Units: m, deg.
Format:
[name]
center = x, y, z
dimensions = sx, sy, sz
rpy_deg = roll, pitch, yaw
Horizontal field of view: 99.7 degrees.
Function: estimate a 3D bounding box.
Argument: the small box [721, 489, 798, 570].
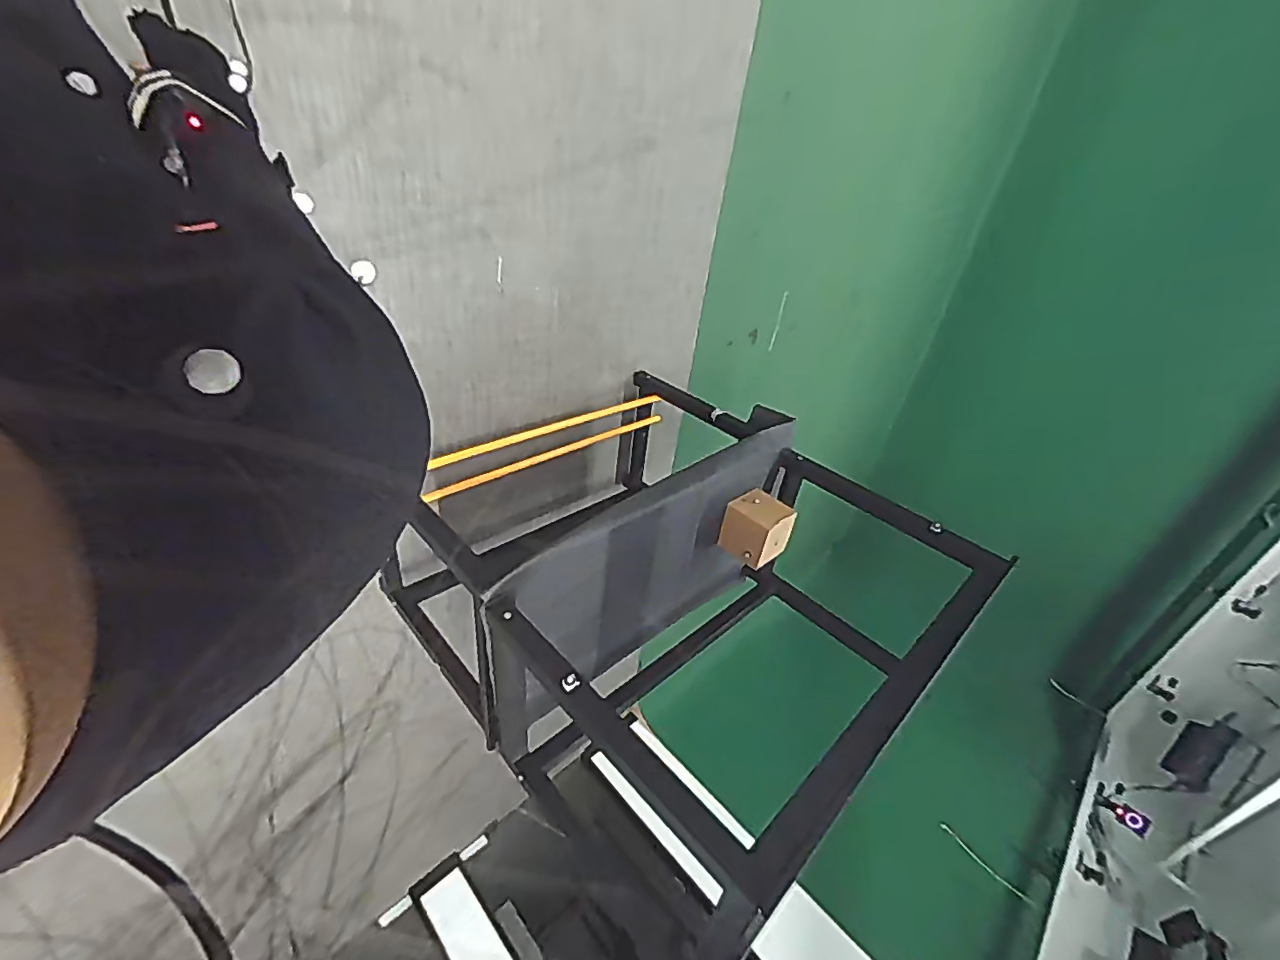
[small box]
center = 0.389, 0.160, 1.787
dimensions = 0.168, 0.176, 0.179
rpy_deg = -24, 135, -39
